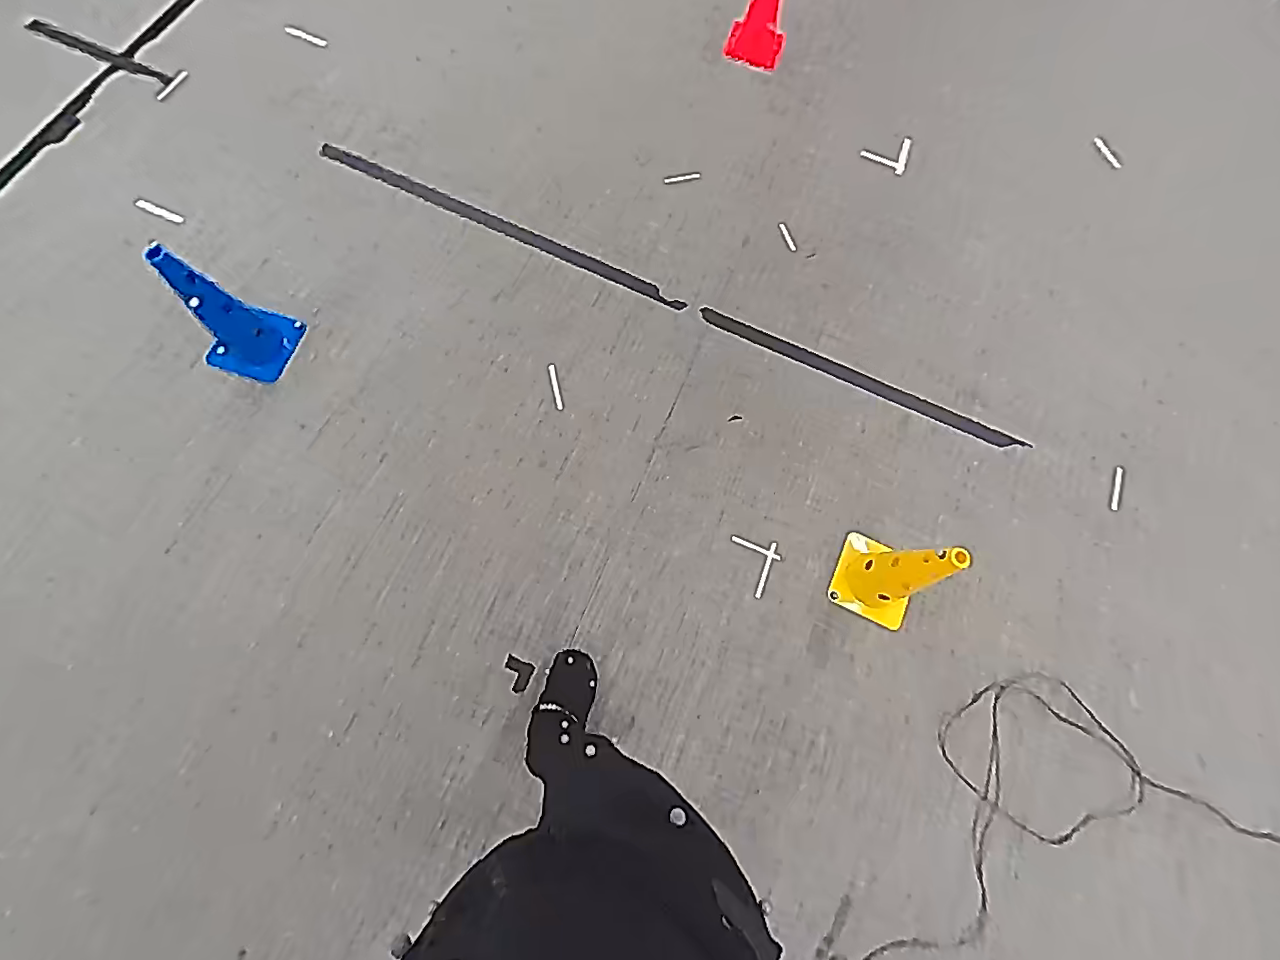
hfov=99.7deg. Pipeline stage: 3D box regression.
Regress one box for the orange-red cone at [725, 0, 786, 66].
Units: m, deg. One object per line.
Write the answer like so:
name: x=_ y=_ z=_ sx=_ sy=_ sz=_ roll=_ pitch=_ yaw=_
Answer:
orange-red cone: x=0.434 y=-1.645 z=1.808 sx=0.199 sy=0.360 sz=0.198 roll=19 pitch=71 yaw=3

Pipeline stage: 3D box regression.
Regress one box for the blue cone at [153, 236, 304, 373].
blue cone: x=-1.022 y=-0.435 z=1.310 sx=0.193 sy=0.380 sz=0.192 roll=19 pitch=72 yaw=2
